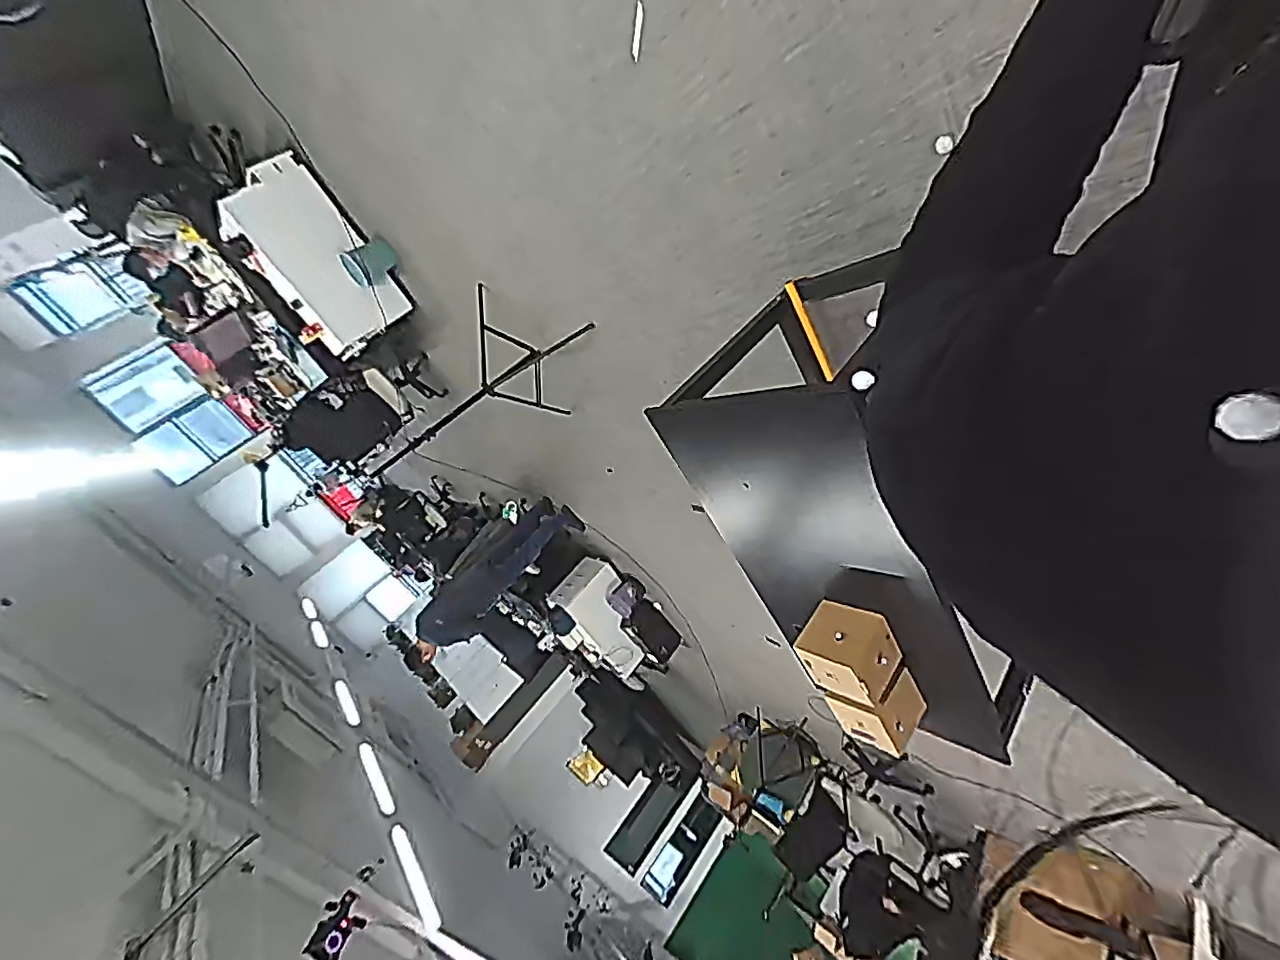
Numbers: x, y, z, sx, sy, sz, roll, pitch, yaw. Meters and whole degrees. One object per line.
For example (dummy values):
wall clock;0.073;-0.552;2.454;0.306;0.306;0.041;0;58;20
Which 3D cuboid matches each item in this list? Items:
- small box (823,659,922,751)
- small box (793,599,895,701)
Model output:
small box;0.647;0.597;1.495;0.168;0.176;0.179;2;131;55
small box;0.539;0.433;1.407;0.179;0.176;0.168;5;134;53
